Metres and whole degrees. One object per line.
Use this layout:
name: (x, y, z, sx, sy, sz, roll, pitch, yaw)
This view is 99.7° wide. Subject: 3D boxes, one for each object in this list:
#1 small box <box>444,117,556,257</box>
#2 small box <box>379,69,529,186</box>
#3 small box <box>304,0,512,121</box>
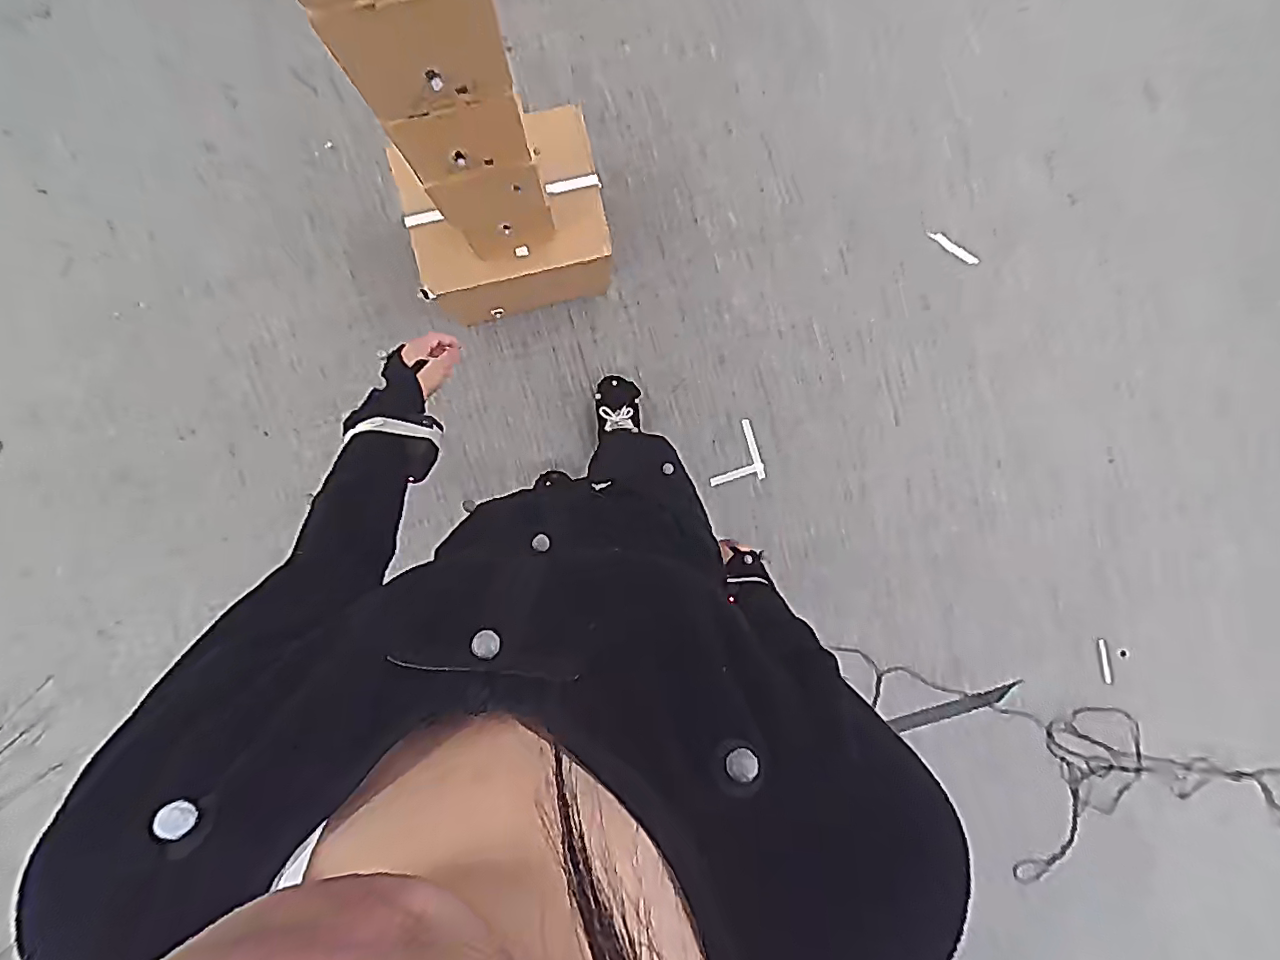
small box: (-0.270, -0.551, 1.042, 0.179, 0.176, 0.168, -17, 97, -4)
small box: (-0.255, -0.529, 0.716, 0.168, 0.176, 0.179, -16, 97, -3)
small box: (-0.244, -0.517, 0.553, 0.168, 0.176, 0.179, -17, 97, -2)
